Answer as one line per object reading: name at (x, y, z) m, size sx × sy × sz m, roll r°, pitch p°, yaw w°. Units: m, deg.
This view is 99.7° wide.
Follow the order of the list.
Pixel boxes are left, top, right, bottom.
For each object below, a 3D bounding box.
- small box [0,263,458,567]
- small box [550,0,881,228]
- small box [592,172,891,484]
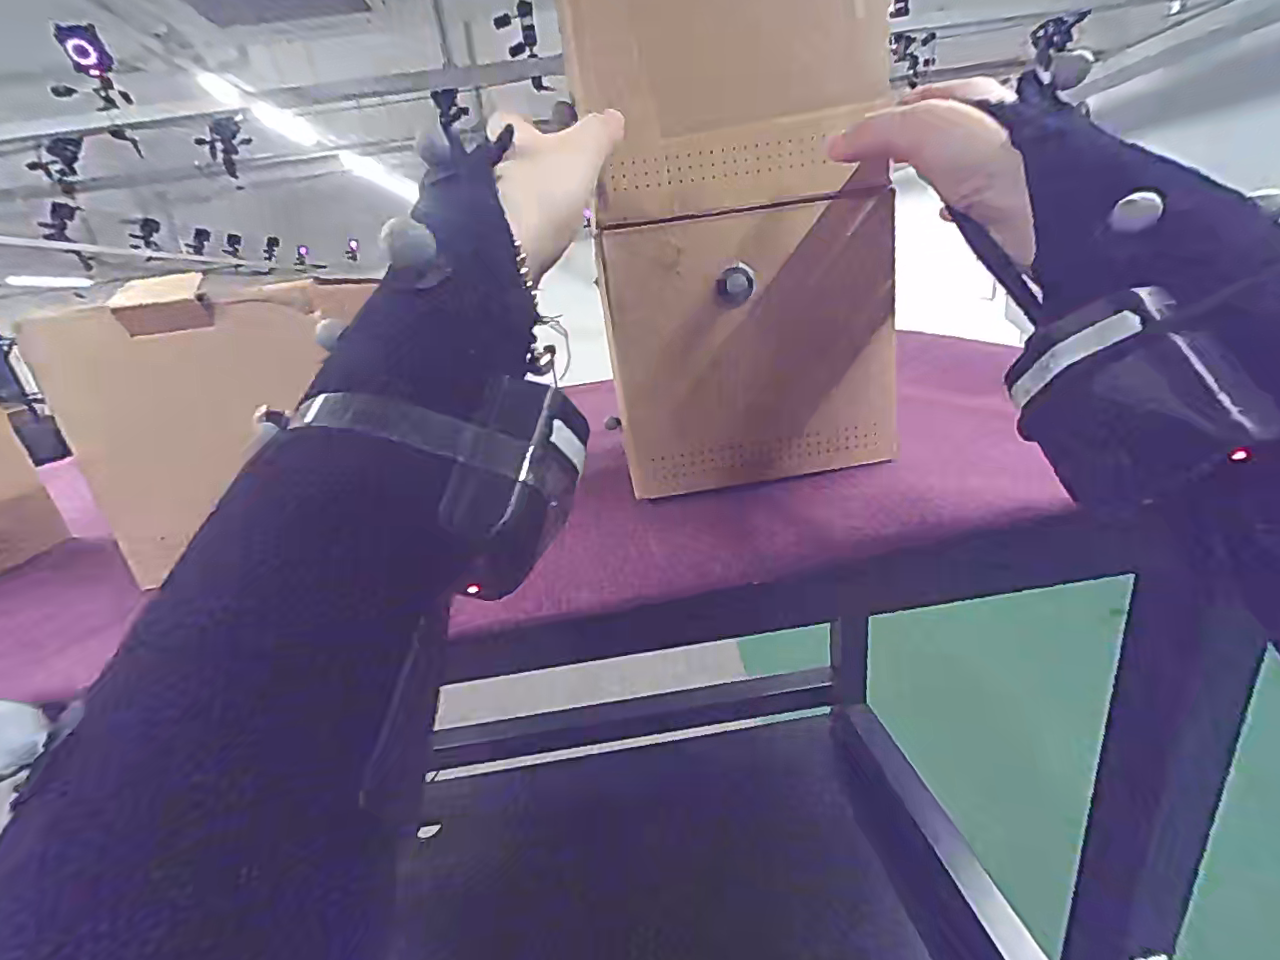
small box at (-0.243, -0.048, 0.380) m, size 0.168 × 0.176 × 0.179 m, roll -7°, pitch 19°, yaw -1°
small box at (0.040, -0.257, 0.356) m, size 0.179 × 0.176 × 0.168 m, roll -9°, pitch 17°, yaw -2°
small box at (0.065, -0.102, 0.399) m, size 0.179 × 0.176 × 0.168 m, roll -9°, pitch 17°, yaw -2°
